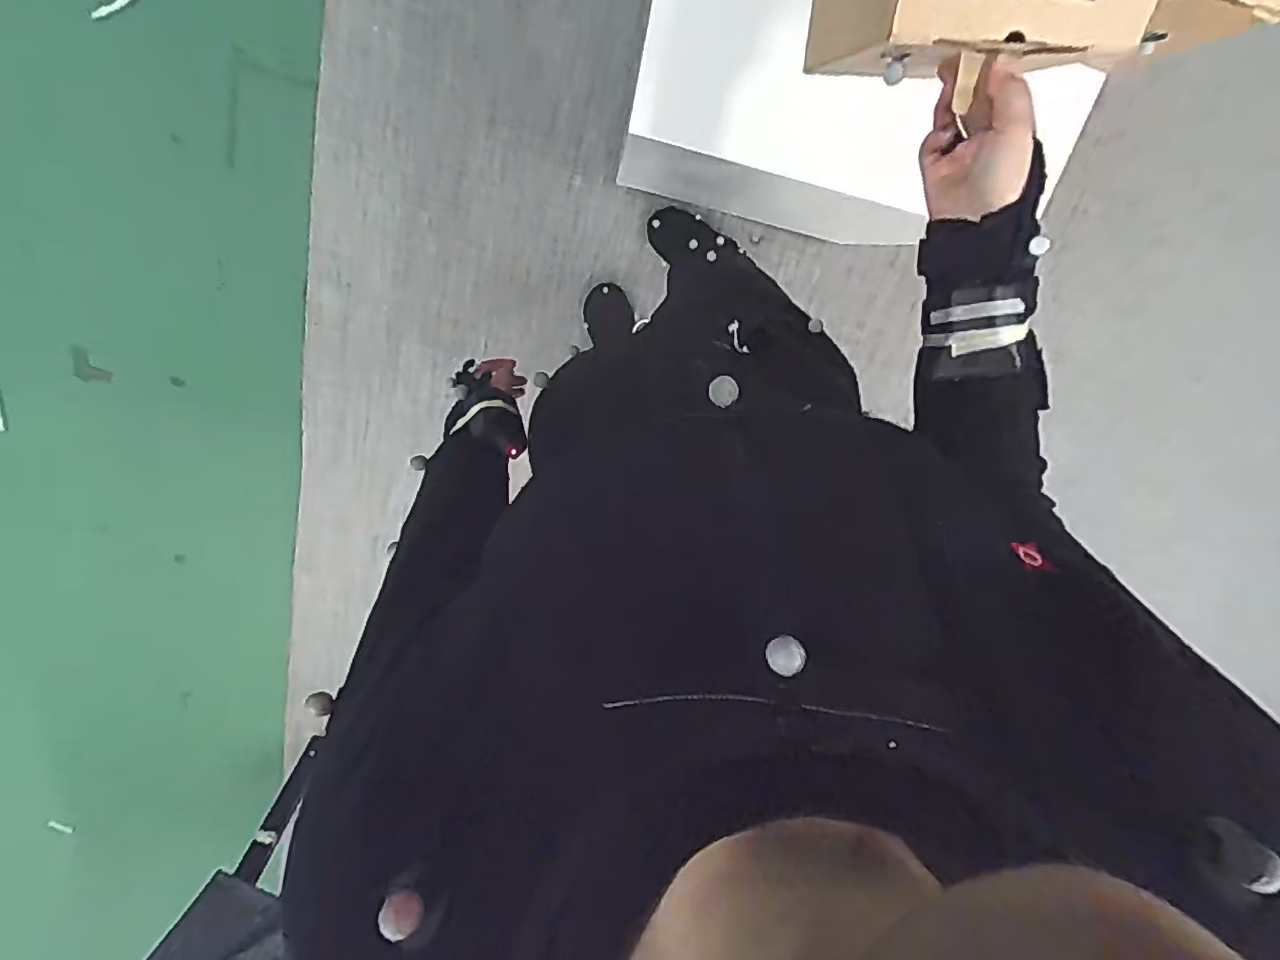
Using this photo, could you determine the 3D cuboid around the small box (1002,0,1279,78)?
[{"bbox_3d":[0.473,-0.499,0.482,0.168,0.176,0.179,12,111,-9],"label":"small box"}]
